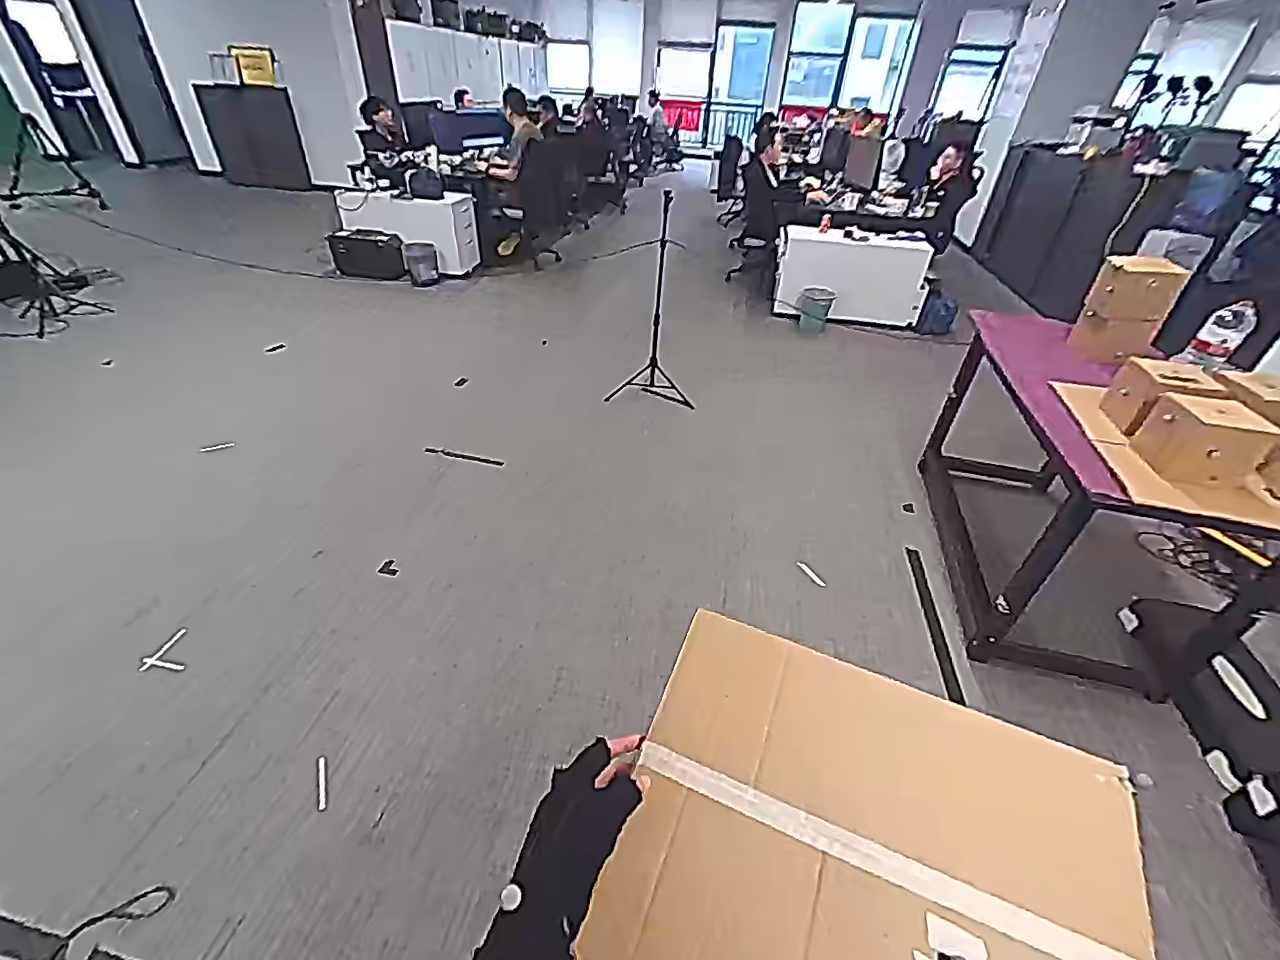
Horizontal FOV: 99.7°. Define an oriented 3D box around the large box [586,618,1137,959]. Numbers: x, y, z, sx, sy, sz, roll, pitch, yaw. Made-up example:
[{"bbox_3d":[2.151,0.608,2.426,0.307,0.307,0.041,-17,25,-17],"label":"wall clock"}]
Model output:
[{"bbox_3d":[0.194,0.409,0.573,0.408,0.320,0.320,18,53,15],"label":"large box"}]
